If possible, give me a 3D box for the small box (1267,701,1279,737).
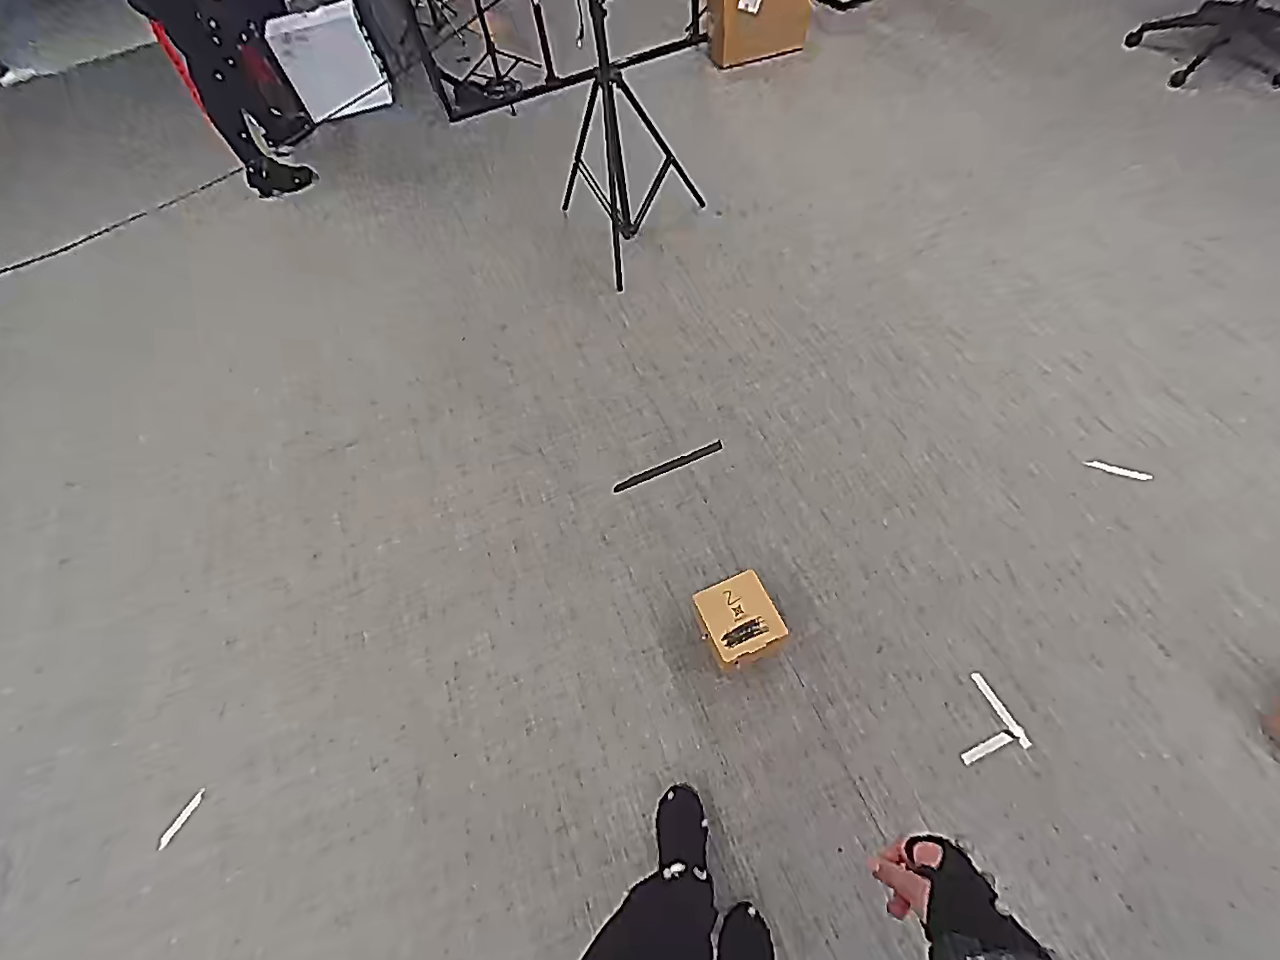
[{"bbox_3d":[1.457,0.501,1.091,0.179,0.176,0.168,-36,62,-14],"label":"small box"}]
